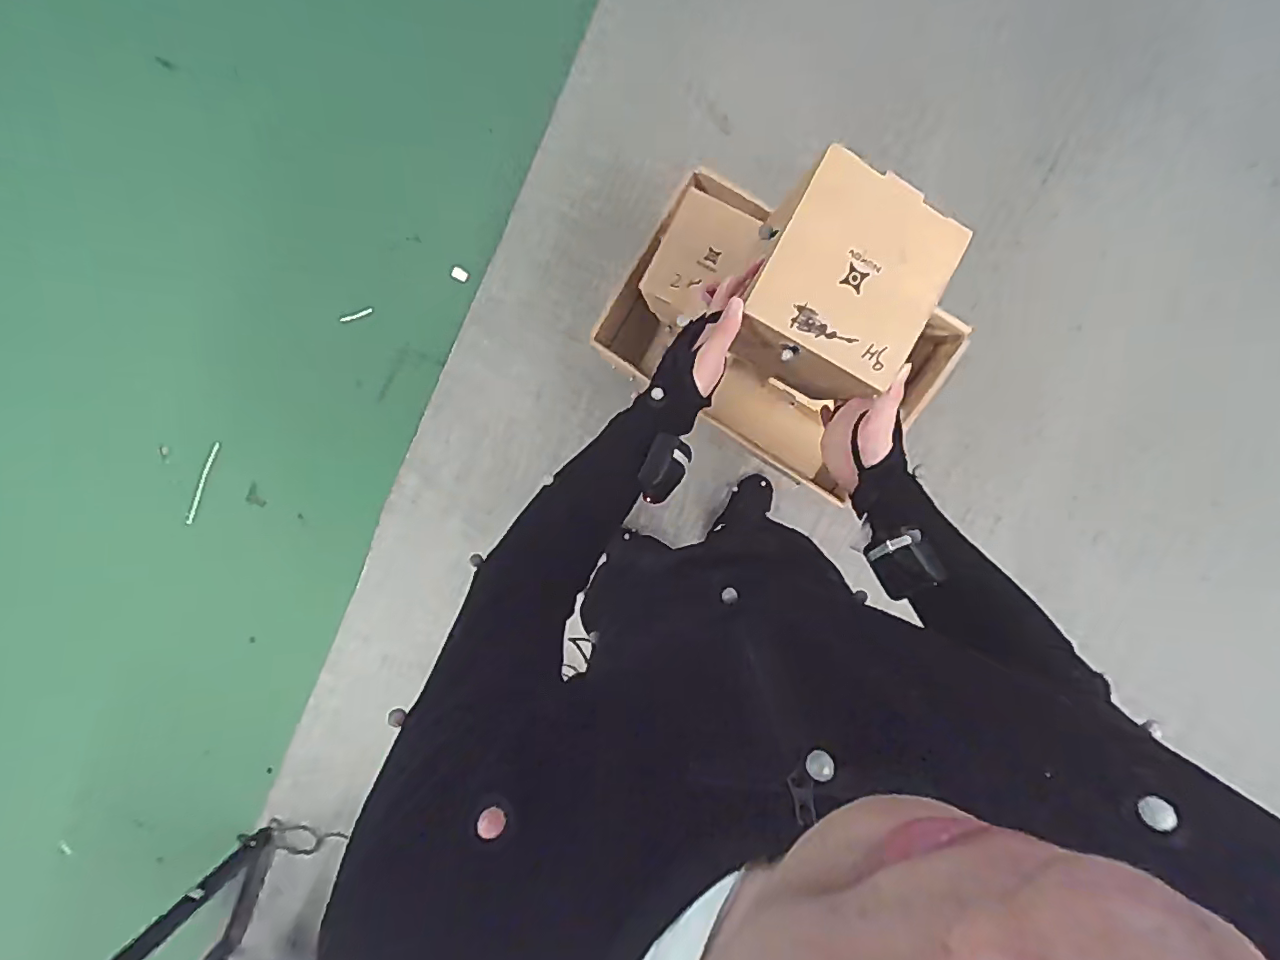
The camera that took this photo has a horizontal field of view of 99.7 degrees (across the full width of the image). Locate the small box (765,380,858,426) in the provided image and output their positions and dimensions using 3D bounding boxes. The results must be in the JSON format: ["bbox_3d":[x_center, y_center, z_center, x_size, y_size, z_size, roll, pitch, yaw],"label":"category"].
[{"bbox_3d":[0.364,-0.224,1.078,0.168,0.176,0.179,33,100,3],"label":"small box"}]

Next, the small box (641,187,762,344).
[{"bbox_3d":[0.120,-0.351,0.929,0.168,0.176,0.179,30,99,4],"label":"small box"}]

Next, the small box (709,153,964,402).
[{"bbox_3d":[0.194,-0.199,0.591,0.168,0.176,0.179,27,93,-9],"label":"small box"}]
